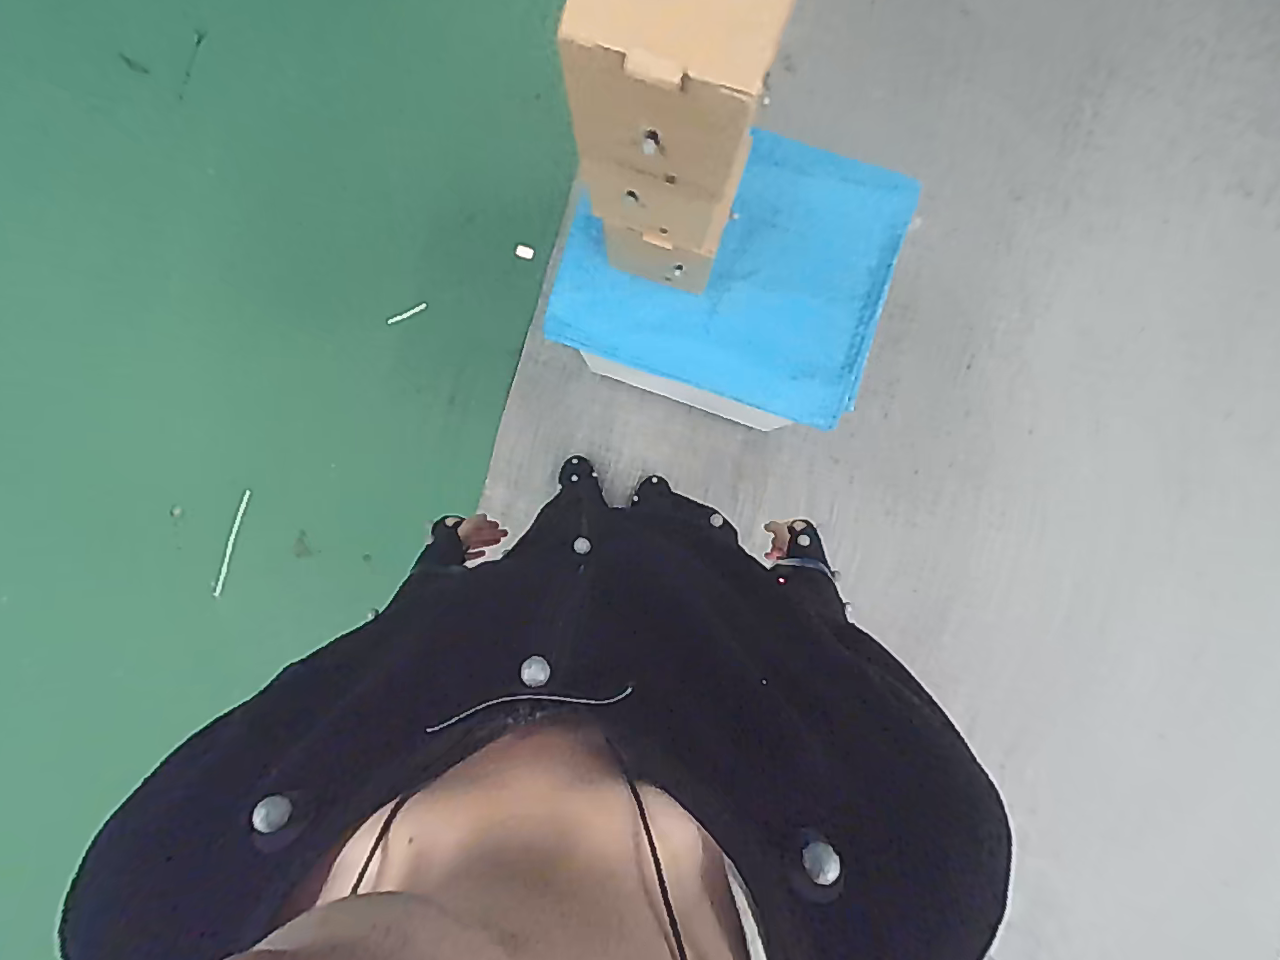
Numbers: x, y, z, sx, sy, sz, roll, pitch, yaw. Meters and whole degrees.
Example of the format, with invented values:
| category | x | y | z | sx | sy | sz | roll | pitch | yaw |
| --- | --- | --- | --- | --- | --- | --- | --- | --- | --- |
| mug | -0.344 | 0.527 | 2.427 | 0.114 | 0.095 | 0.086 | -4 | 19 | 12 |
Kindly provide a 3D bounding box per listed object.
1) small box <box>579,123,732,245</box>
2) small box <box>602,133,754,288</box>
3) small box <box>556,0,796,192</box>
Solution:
| category | x | y | z | sx | sy | sz | roll | pitch | yaw |
| --- | --- | --- | --- | --- | --- | --- | --- | --- | --- |
| small box | 0.040 | -0.418 | 0.654 | 0.168 | 0.176 | 0.179 | 20 | 90 | -1 |
| small box | 0.053 | -0.417 | 0.816 | 0.168 | 0.176 | 0.179 | 19 | 90 | -1 |
| small box | 0.041 | -0.403 | 0.490 | 0.168 | 0.176 | 0.179 | 20 | 91 | -1 |
